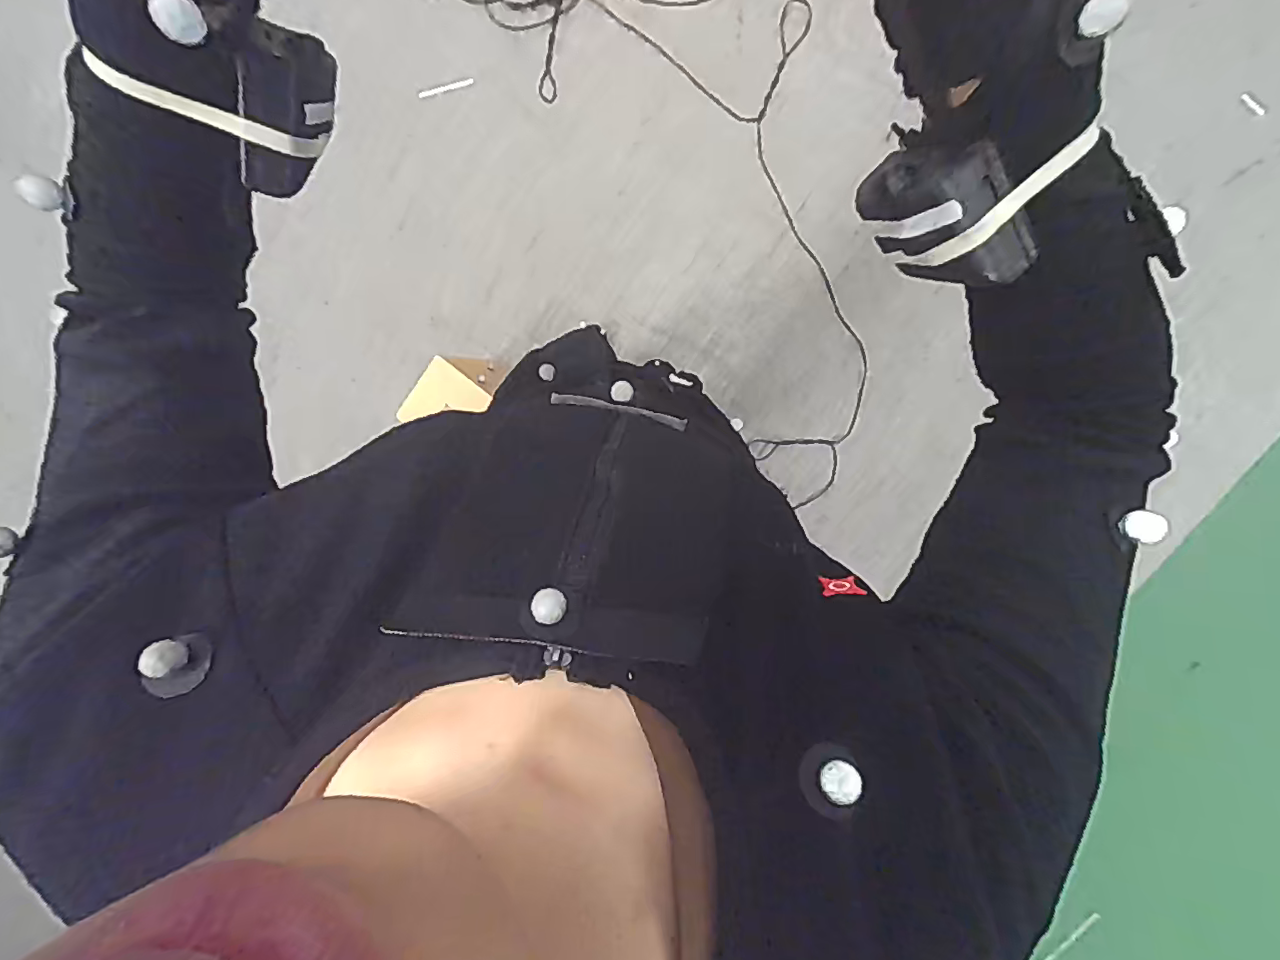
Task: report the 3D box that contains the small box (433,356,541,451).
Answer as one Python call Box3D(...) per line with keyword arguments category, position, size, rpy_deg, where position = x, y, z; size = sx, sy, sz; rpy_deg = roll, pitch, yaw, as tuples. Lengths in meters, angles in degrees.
Box3D(category="small box", position=(-0.384, -0.196, 1.384), size=(0.179, 0.176, 0.168), rpy_deg=(39, 101, -5))
